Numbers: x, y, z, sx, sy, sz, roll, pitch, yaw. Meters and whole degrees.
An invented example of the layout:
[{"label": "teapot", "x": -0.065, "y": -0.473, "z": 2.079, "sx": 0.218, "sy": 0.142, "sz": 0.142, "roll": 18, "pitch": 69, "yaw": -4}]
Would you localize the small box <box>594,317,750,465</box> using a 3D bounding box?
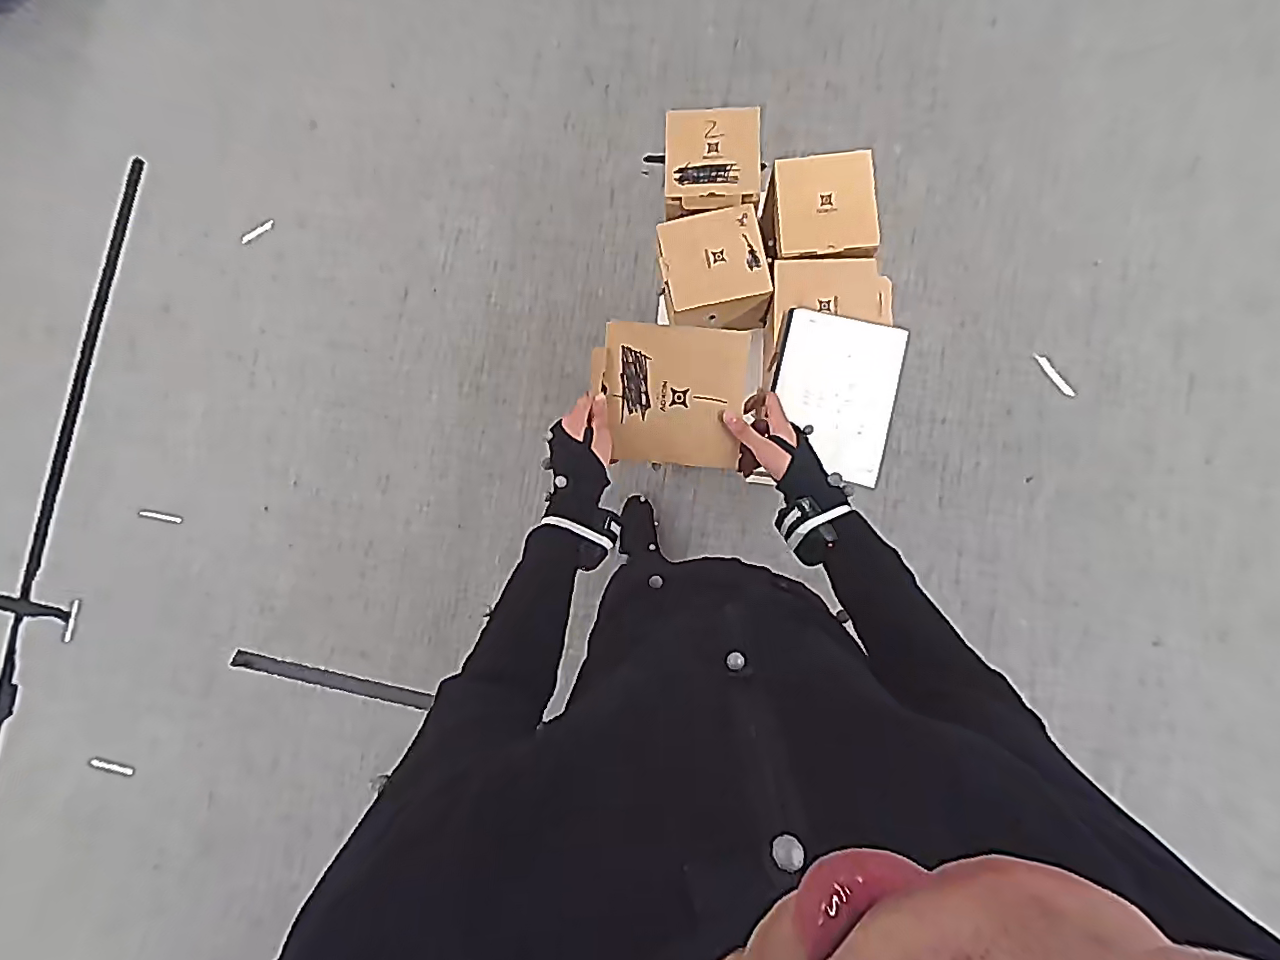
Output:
[{"label": "small box", "x": 0.041, "y": -0.114, "z": 0.729, "sx": 0.179, "sy": 0.176, "sz": 0.168, "roll": 5, "pitch": 97, "yaw": 2}]
